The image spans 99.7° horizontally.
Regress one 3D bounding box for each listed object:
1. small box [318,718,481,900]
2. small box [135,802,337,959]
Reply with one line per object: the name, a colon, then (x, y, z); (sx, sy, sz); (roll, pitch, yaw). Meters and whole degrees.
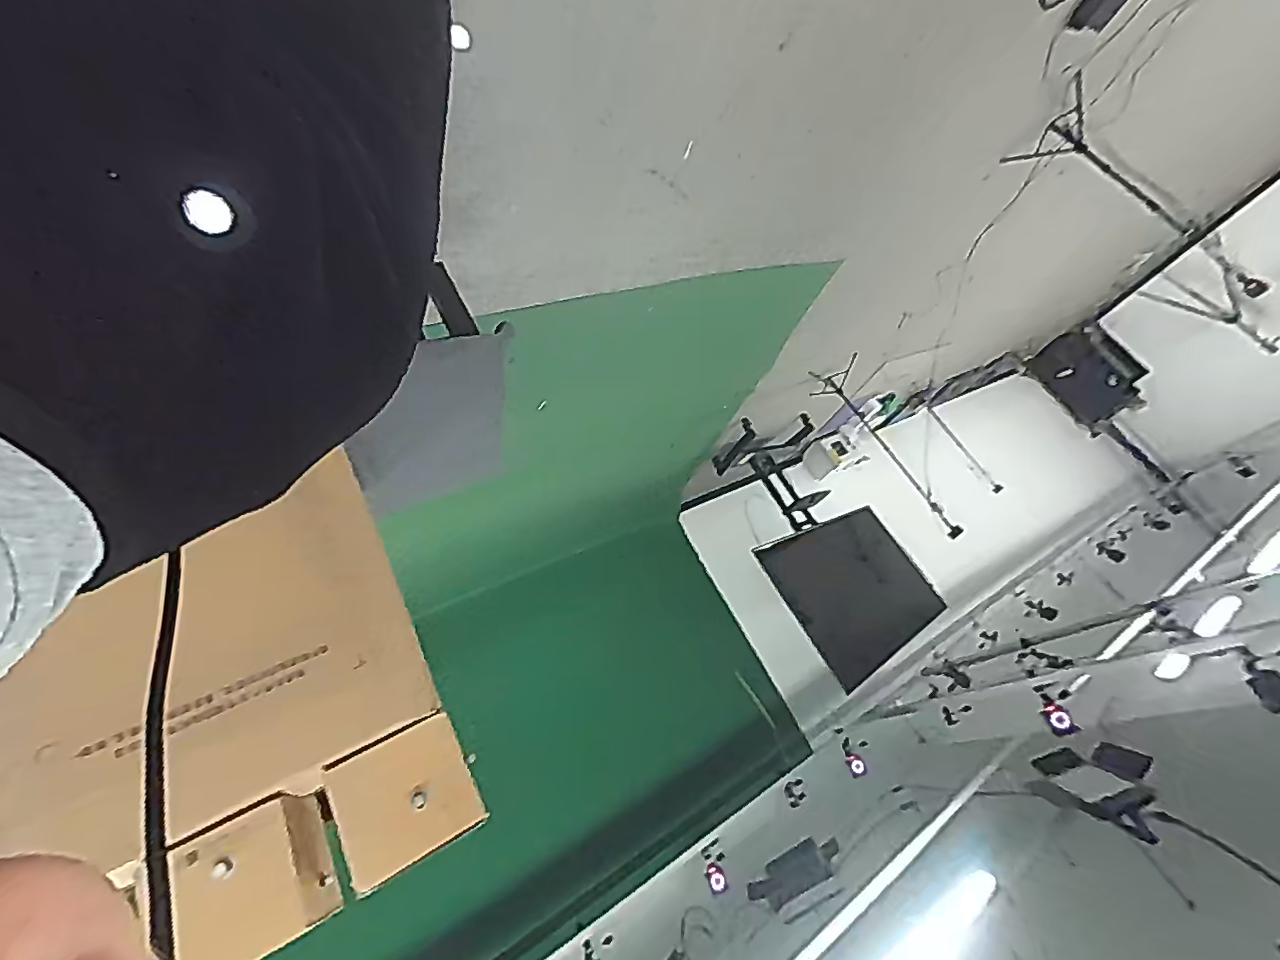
small box: (-0.364, 0.495, 0.839); (0.179, 0.176, 0.168); (-22, 158, -26)
small box: (-0.550, 0.576, 0.752); (0.168, 0.176, 0.179); (-21, 157, -25)
